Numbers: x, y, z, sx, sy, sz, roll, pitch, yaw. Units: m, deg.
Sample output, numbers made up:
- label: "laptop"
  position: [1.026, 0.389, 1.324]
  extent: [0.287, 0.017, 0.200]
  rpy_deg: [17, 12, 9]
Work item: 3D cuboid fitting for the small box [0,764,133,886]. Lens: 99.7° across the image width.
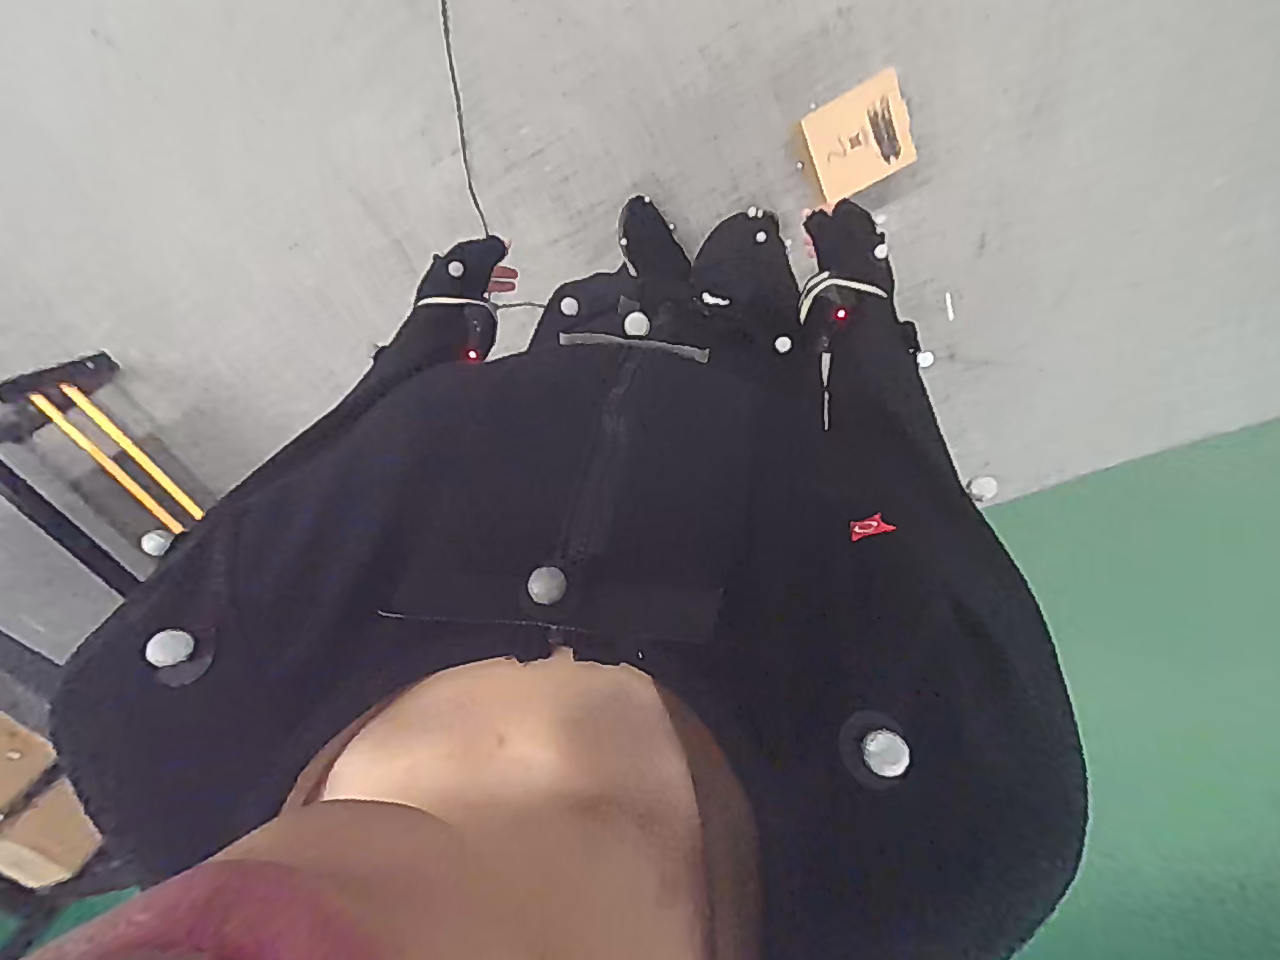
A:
- label: "small box"
  position: [-1.349, 0.793, 1.249]
  extent: [0.179, 0.176, 0.168]
  rpy_deg: [-25, 114, 18]
